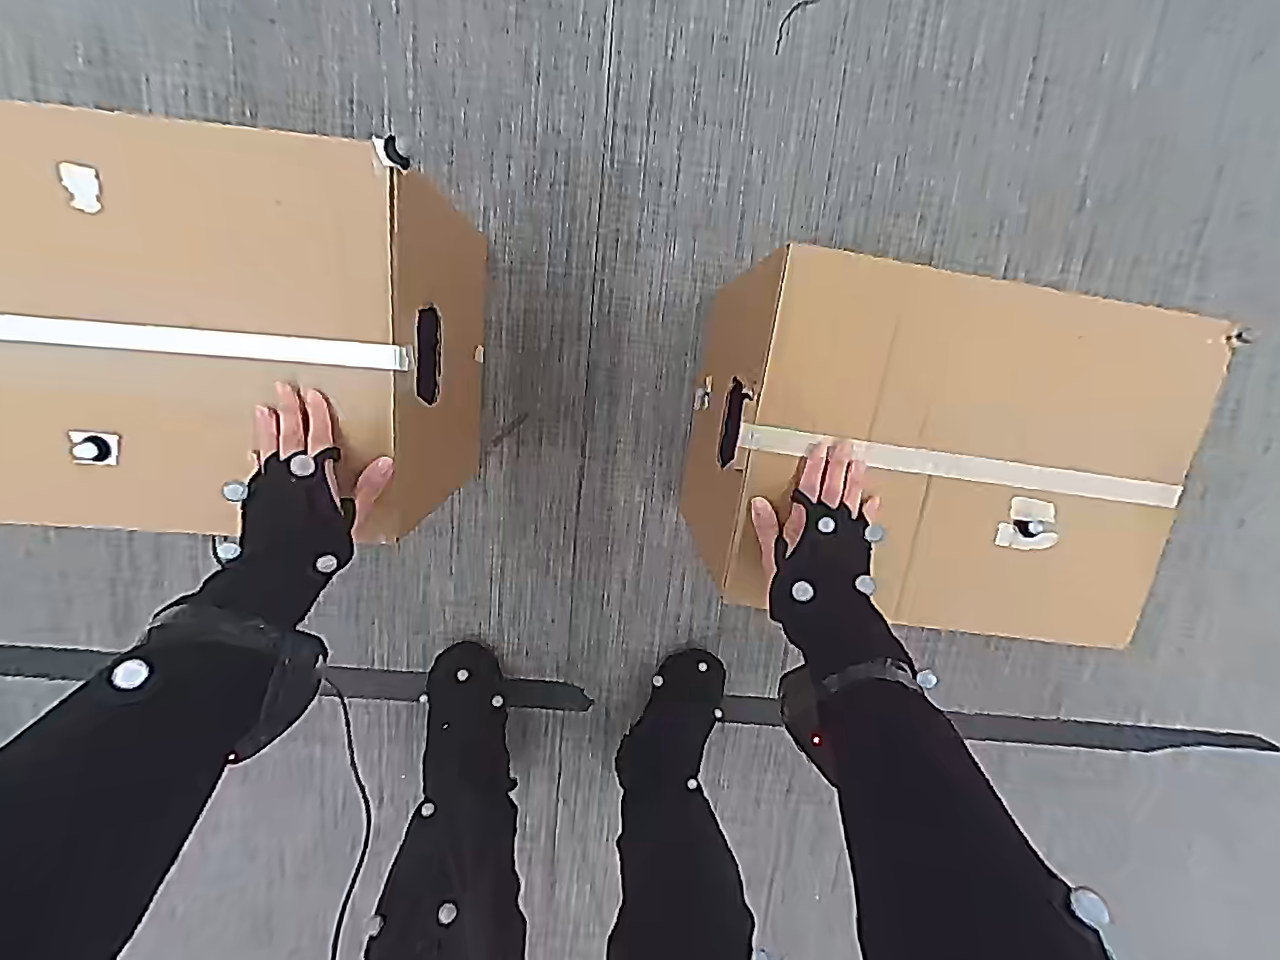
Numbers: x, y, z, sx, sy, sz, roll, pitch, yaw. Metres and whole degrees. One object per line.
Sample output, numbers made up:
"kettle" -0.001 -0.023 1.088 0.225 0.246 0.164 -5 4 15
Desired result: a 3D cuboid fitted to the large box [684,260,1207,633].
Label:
"large box" 0.287 -0.045 0.644 0.408 0.320 0.320 7 102 -6
